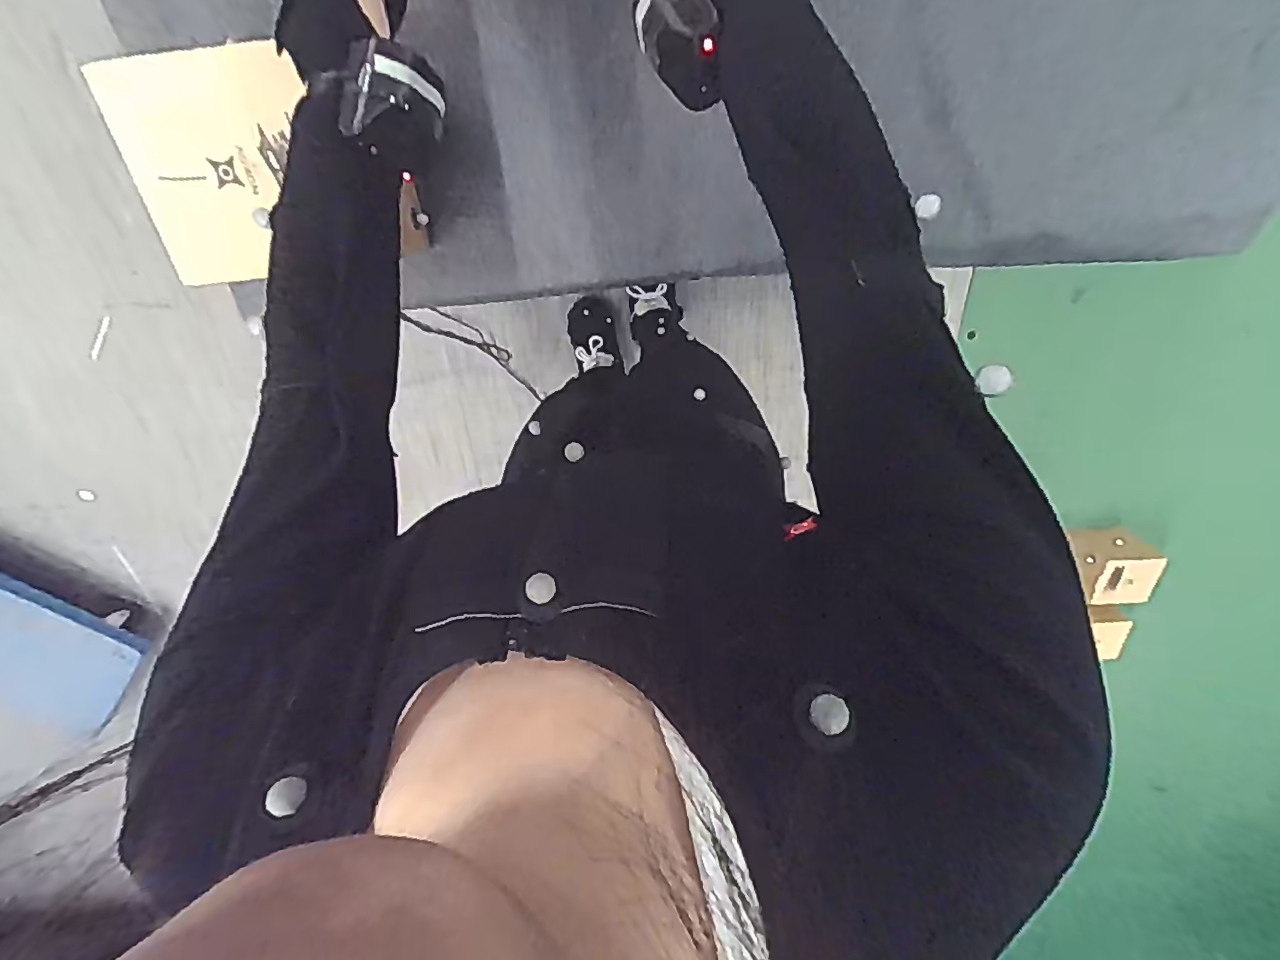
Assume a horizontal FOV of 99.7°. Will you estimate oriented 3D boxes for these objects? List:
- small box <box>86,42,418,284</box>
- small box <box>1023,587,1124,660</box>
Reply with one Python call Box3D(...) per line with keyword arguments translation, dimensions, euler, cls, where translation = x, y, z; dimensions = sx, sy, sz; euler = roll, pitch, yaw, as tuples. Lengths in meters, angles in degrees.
Box3D(translation=(-0.333, -0.293, 0.518), dimensions=(0.179, 0.176, 0.168), euler=(-5, 118, 2), cls="small box")
Box3D(translation=(1.429, 0.473, 1.796), dimensions=(0.179, 0.176, 0.168), euler=(-4, 119, 2), cls="small box")
